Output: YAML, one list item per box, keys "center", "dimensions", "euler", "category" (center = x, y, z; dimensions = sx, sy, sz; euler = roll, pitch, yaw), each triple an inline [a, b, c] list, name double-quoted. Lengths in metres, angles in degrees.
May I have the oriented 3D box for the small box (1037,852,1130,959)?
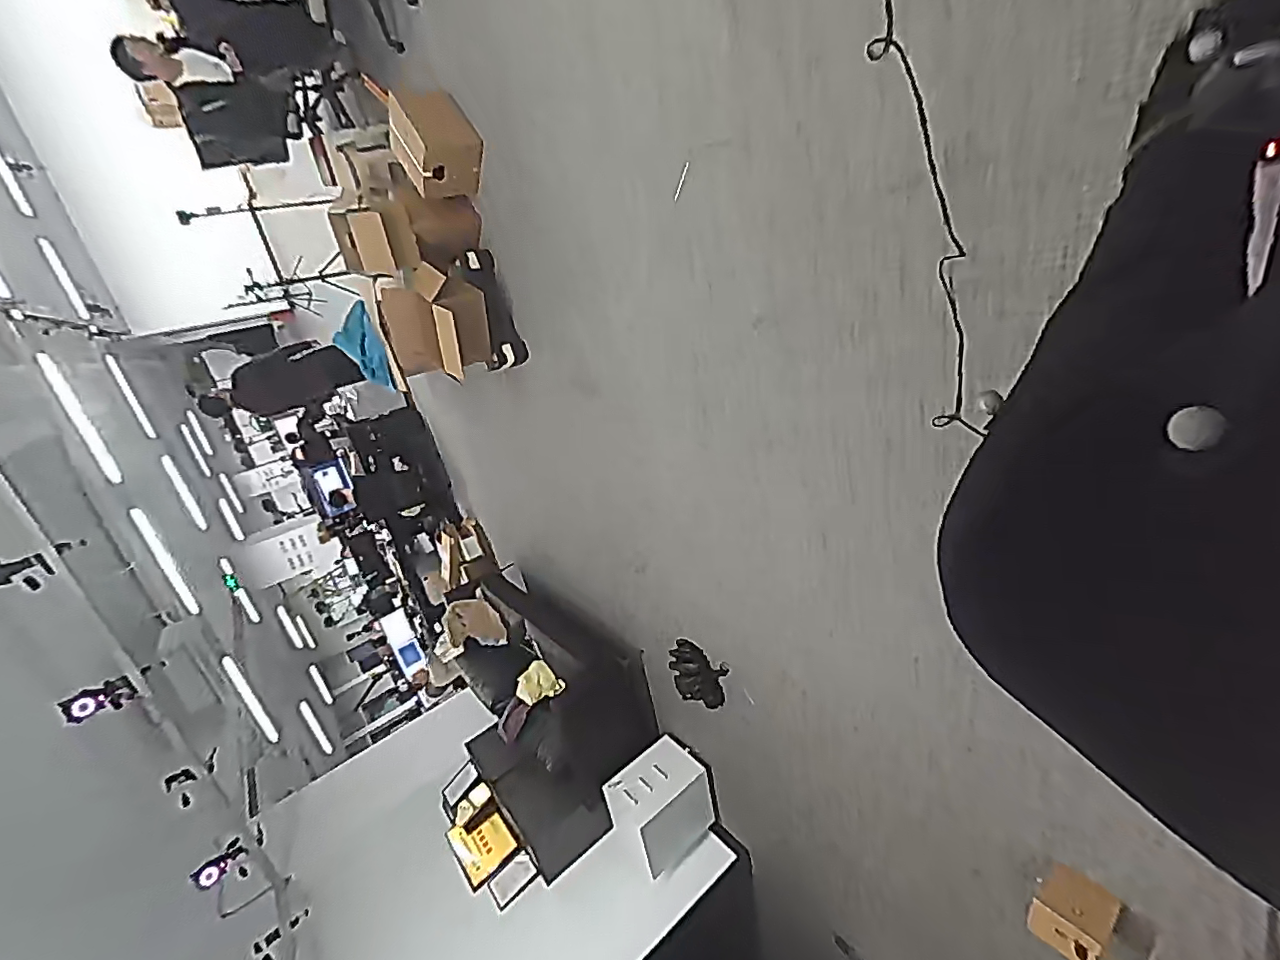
- center: [1.362, 1.305, 1.662]
  dimensions: [0.179, 0.176, 0.168]
  euler: [21, 129, 50]
  category: "small box"
